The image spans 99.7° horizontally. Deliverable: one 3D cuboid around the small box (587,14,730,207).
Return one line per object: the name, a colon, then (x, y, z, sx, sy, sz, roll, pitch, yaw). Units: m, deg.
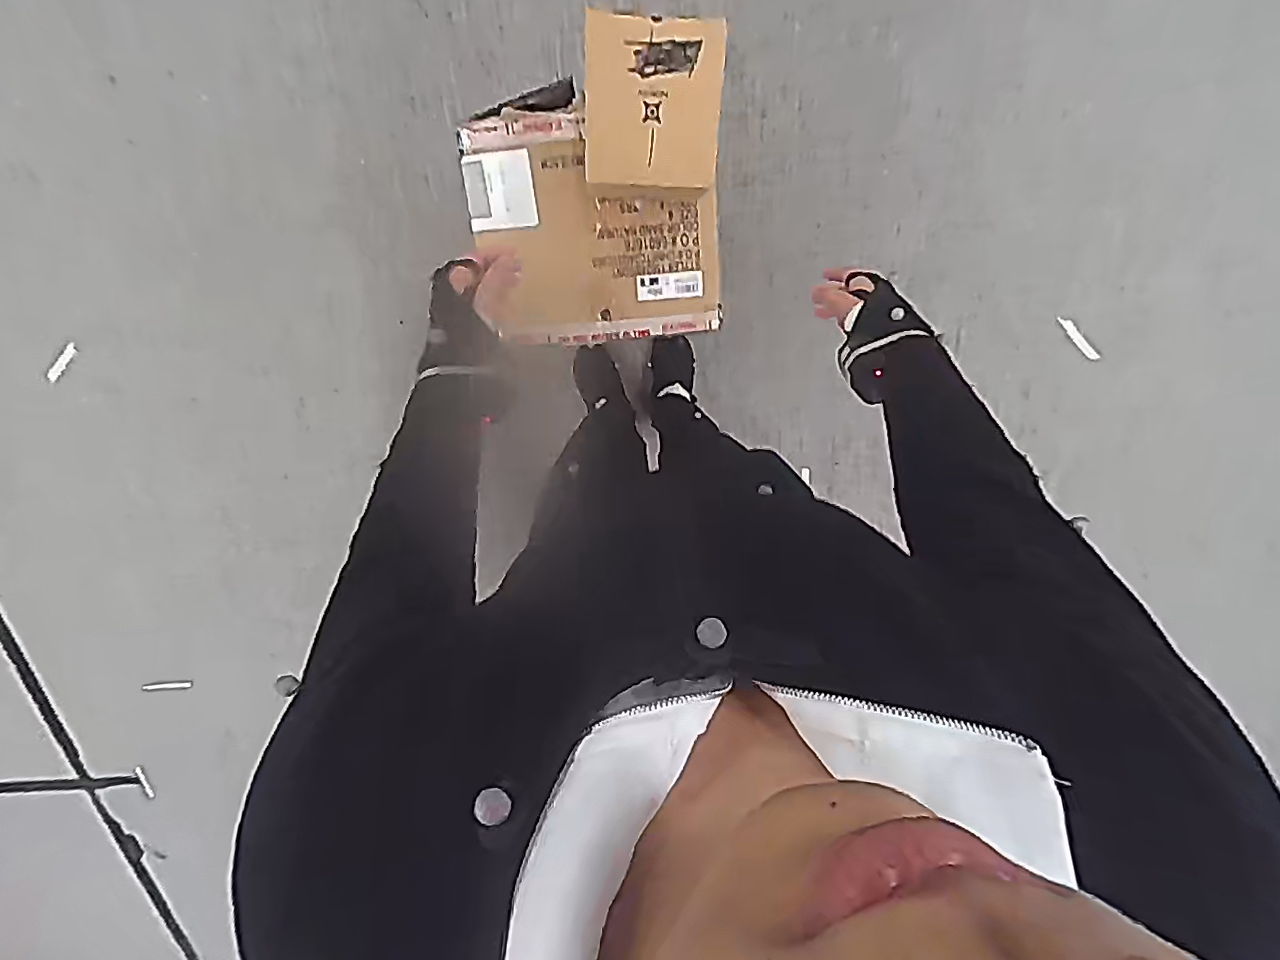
small box: (0.015, -0.473, 0.721, 0.168, 0.176, 0.179, 1, 112, -3)
